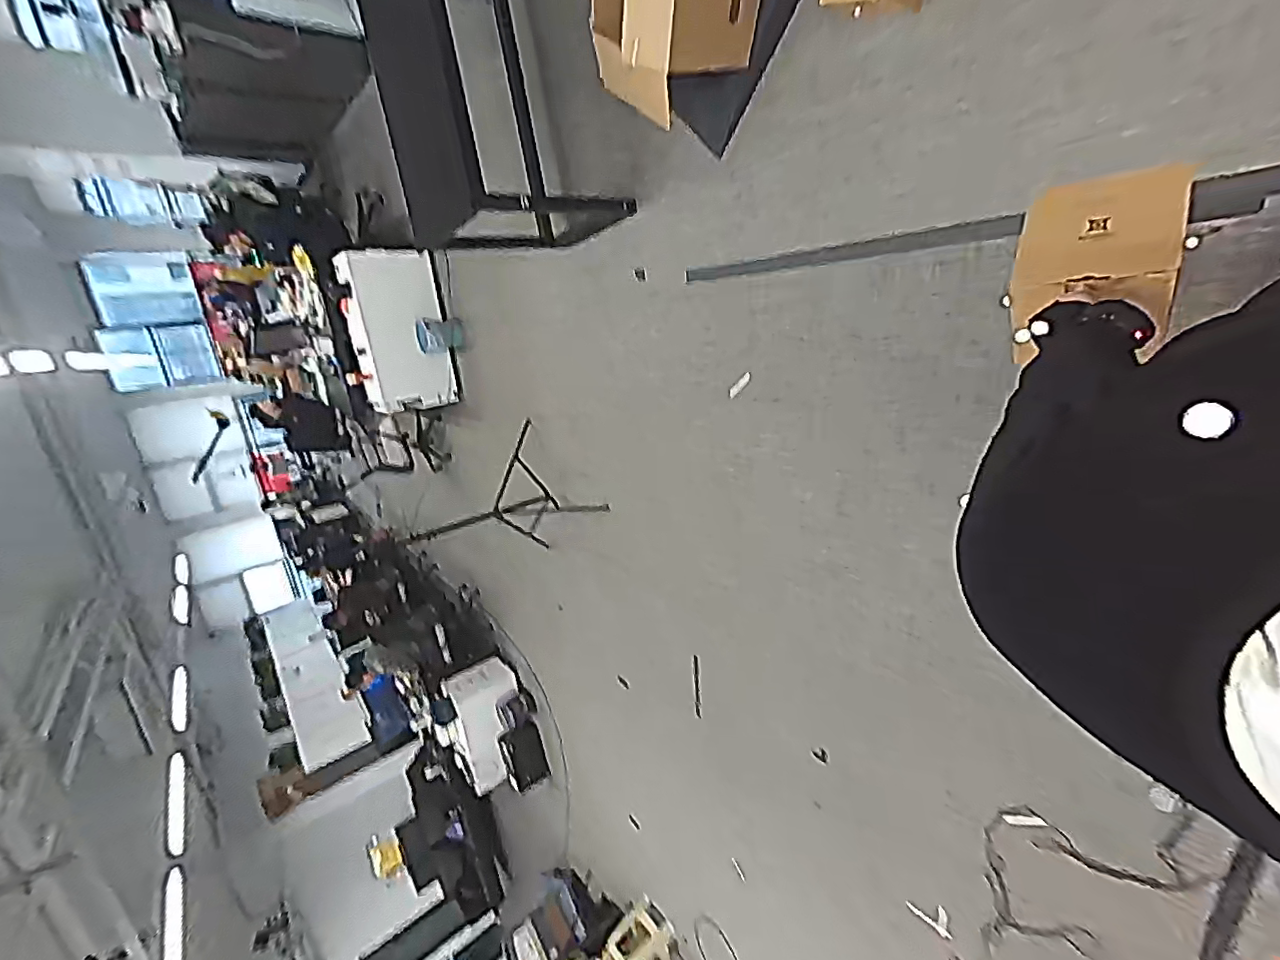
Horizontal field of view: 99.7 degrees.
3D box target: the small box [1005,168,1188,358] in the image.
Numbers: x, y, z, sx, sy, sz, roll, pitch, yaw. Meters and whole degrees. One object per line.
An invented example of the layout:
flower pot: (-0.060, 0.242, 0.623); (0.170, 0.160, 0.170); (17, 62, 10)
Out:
small box: (0.628, -0.285, 0.754); (0.168, 0.176, 0.179); (10, 69, 40)
